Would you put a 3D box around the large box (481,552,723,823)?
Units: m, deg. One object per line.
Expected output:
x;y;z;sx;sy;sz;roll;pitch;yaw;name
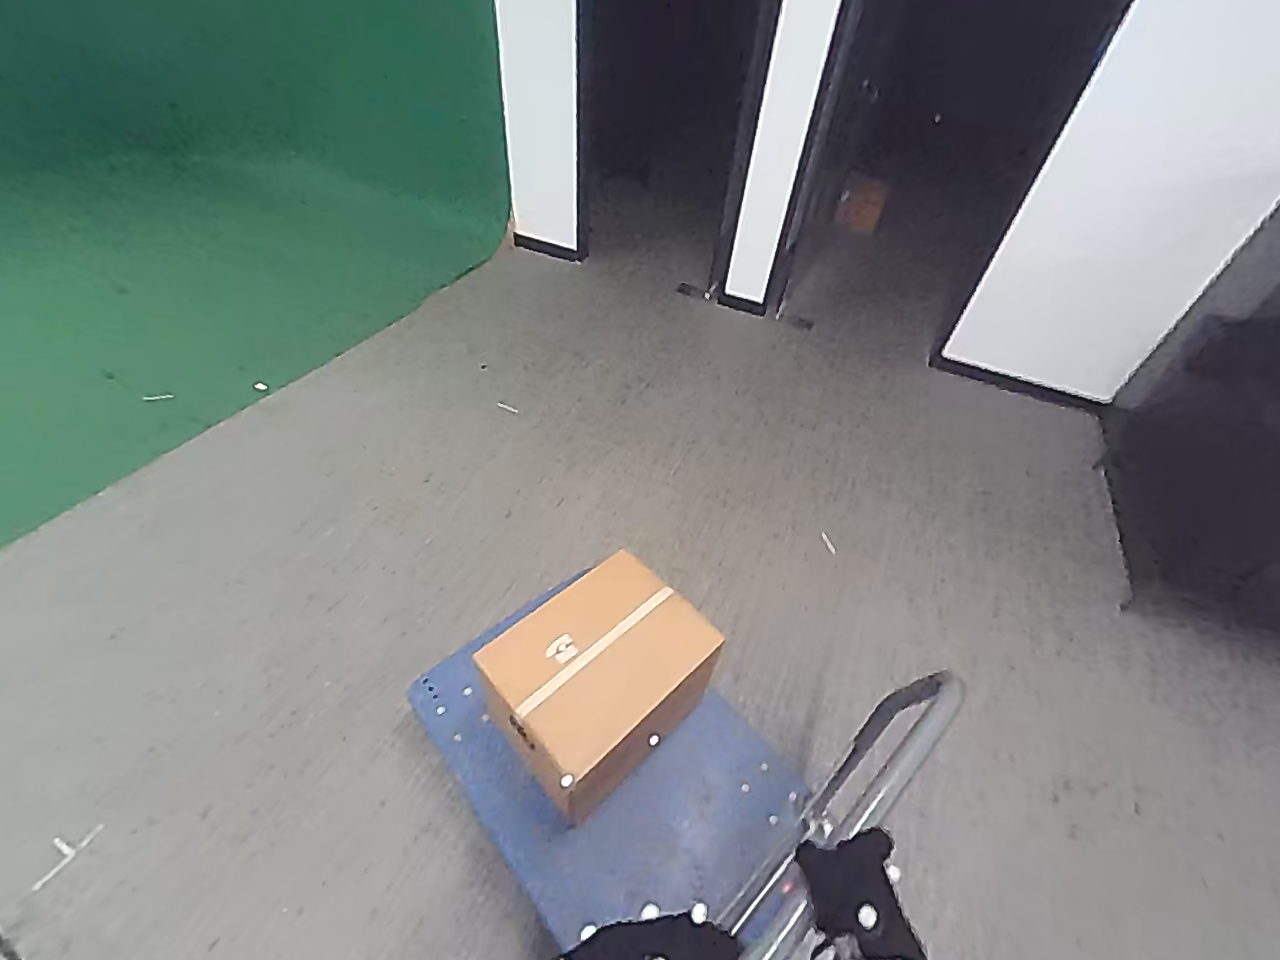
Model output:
-0.078;0.442;1.190;0.408;0.320;0.320;-34;57;-32;large box
